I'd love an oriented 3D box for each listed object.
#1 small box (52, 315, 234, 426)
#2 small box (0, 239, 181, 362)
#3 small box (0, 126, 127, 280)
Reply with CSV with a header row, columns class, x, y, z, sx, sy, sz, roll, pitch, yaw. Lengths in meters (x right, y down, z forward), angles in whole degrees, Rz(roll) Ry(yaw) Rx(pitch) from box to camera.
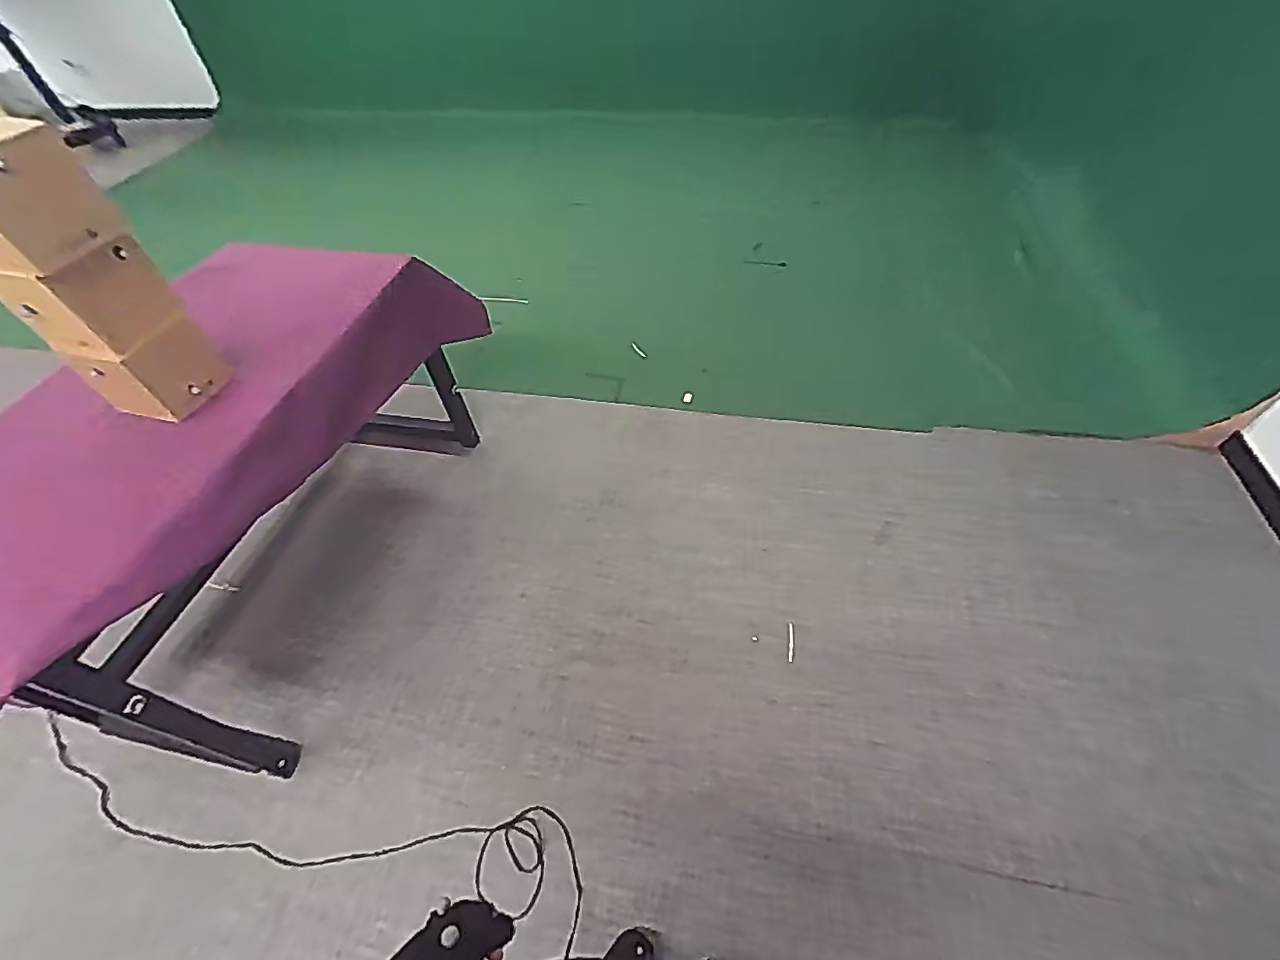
class,x,y,z,sx,sy,sz,roll,pitch,yaw
small box,-1.003,-0.230,1.109,0.179,0.176,0.168,11,53,13
small box,-1.013,-0.337,0.988,0.168,0.176,0.179,10,52,12
small box,-1.001,-0.438,0.857,0.179,0.176,0.168,11,53,15
